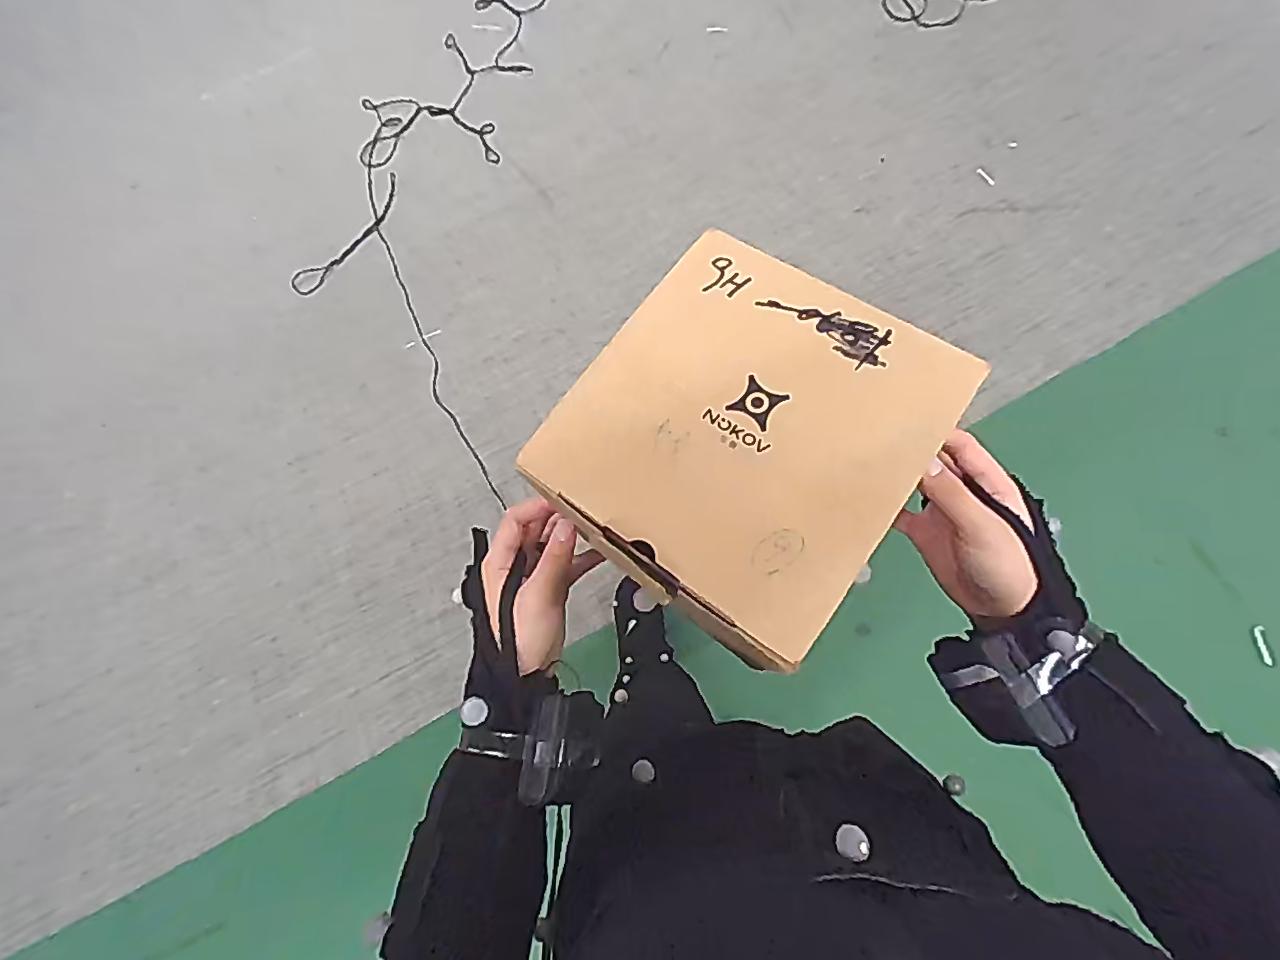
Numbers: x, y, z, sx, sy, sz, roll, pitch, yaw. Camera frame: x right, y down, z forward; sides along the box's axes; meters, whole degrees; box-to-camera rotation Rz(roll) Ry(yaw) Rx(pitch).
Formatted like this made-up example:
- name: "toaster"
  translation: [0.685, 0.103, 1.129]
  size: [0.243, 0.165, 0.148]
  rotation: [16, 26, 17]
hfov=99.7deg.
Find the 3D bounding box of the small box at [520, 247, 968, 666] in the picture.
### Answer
- name: "small box"
  translation: [0.061, -0.001, 0.351]
  size: [0.168, 0.176, 0.179]
  rotation: [35, 79, 17]
